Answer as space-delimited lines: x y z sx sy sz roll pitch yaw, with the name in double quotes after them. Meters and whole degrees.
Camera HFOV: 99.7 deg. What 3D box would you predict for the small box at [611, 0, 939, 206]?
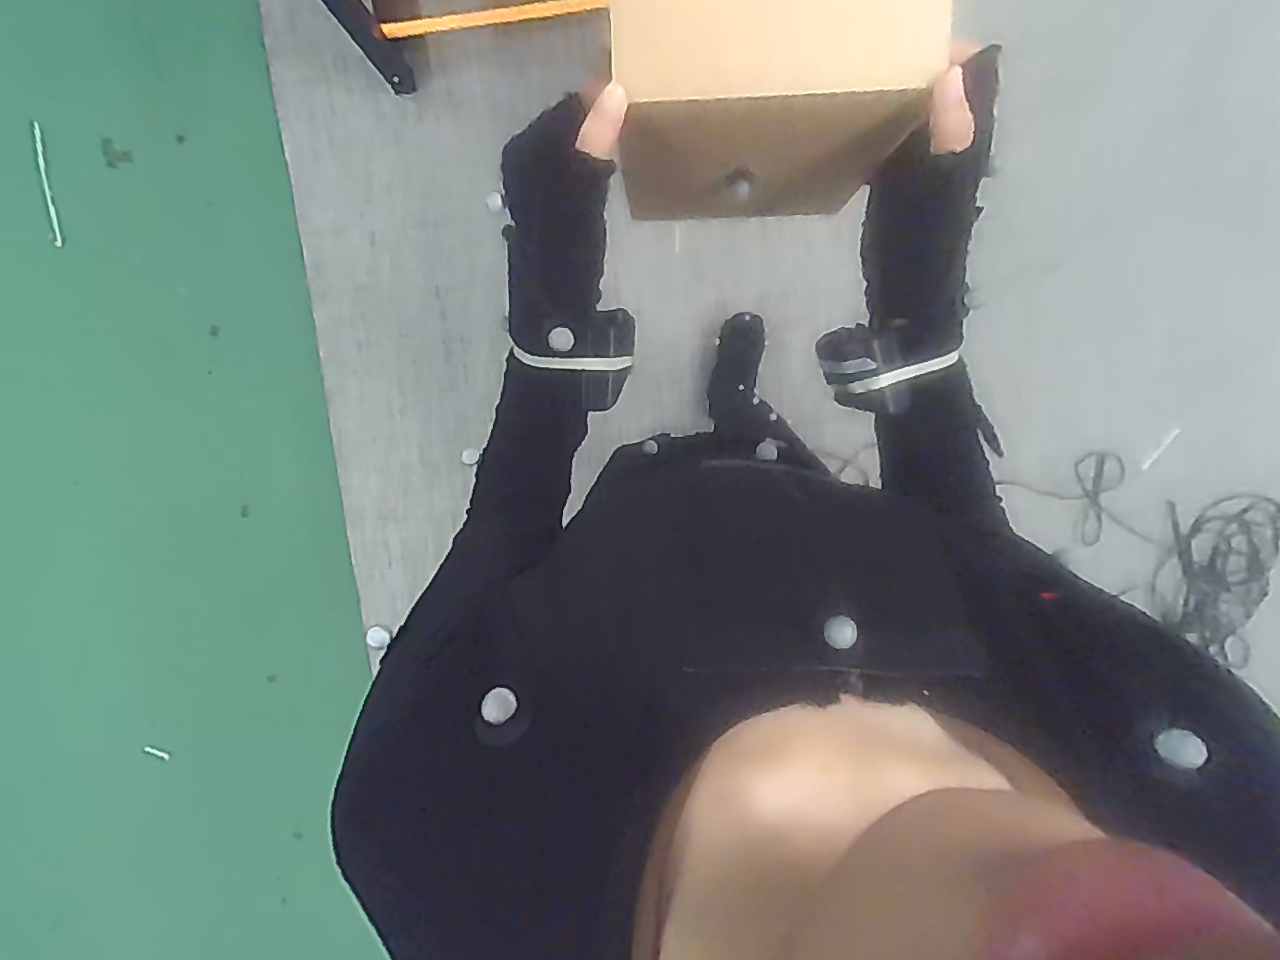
0.070 -0.292 0.346 0.168 0.176 0.179 -1 96 2 "small box"
